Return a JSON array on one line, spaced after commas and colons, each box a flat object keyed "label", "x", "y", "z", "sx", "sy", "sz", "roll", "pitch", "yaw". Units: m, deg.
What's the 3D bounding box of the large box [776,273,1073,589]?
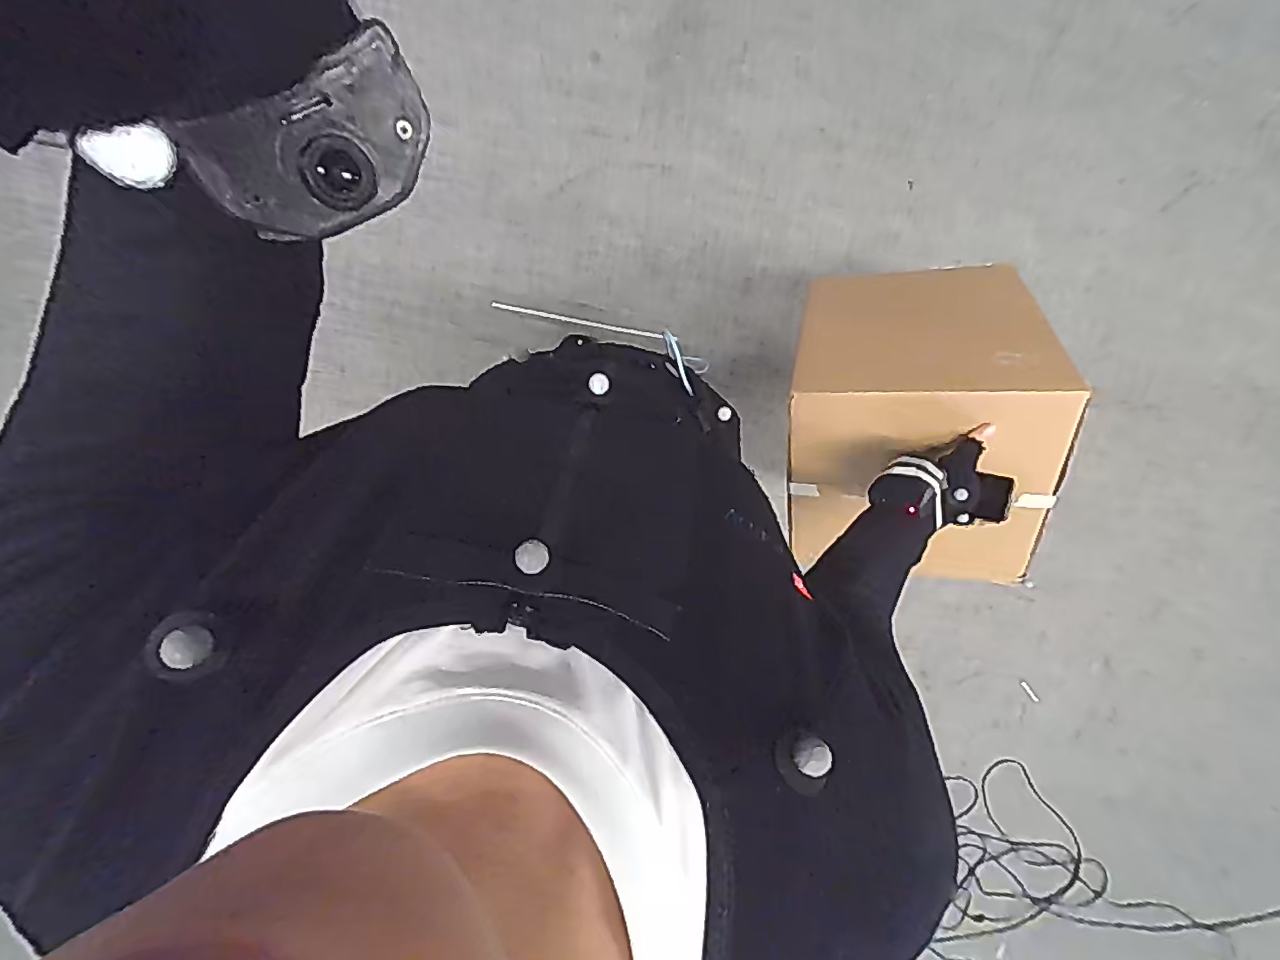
[{"label": "large box", "x": 0.403, "y": -0.101, "z": 0.855, "sx": 0.320, "sy": 0.408, "sz": 0.320, "roll": 4, "pitch": 130, "yaw": 21}]
